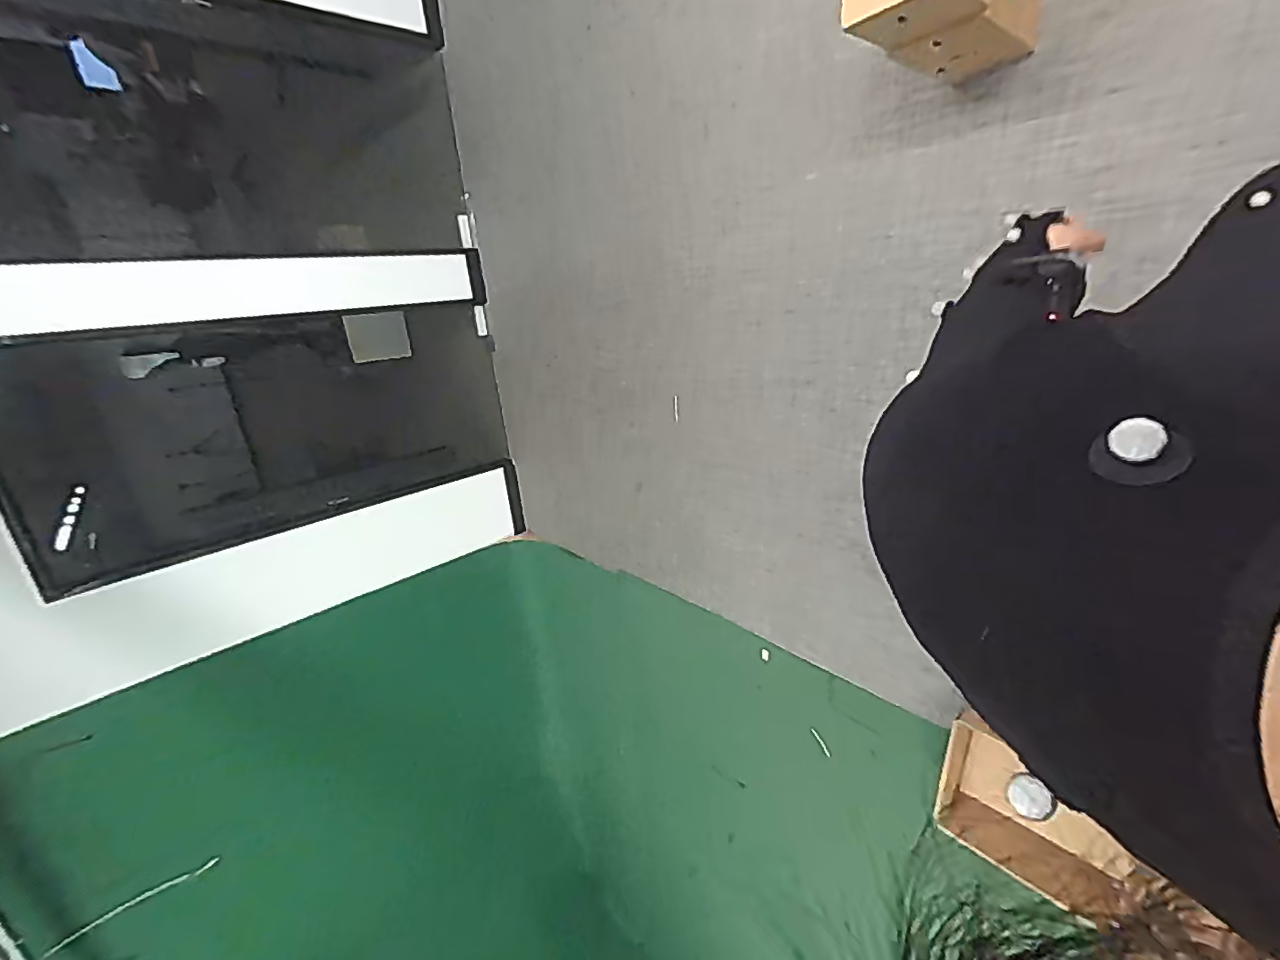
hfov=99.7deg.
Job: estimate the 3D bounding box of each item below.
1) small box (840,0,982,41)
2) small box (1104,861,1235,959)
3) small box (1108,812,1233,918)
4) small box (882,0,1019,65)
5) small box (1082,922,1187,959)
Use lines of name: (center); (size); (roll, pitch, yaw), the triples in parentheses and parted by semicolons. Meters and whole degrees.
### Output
small box: (0.445, -0.846, 0.867); (0.179, 0.176, 0.168); (14, 117, 47)
small box: (1.059, 0.931, 1.091); (0.168, 0.176, 0.179); (18, 119, 46)
small box: (1.177, 0.896, 1.200); (0.168, 0.176, 0.179); (16, 117, 46)
small box: (0.562, -0.886, 0.975); (0.179, 0.176, 0.168); (13, 117, 45)
small box: (0.937, 0.967, 0.990); (0.168, 0.176, 0.179); (41, 134, 32)
